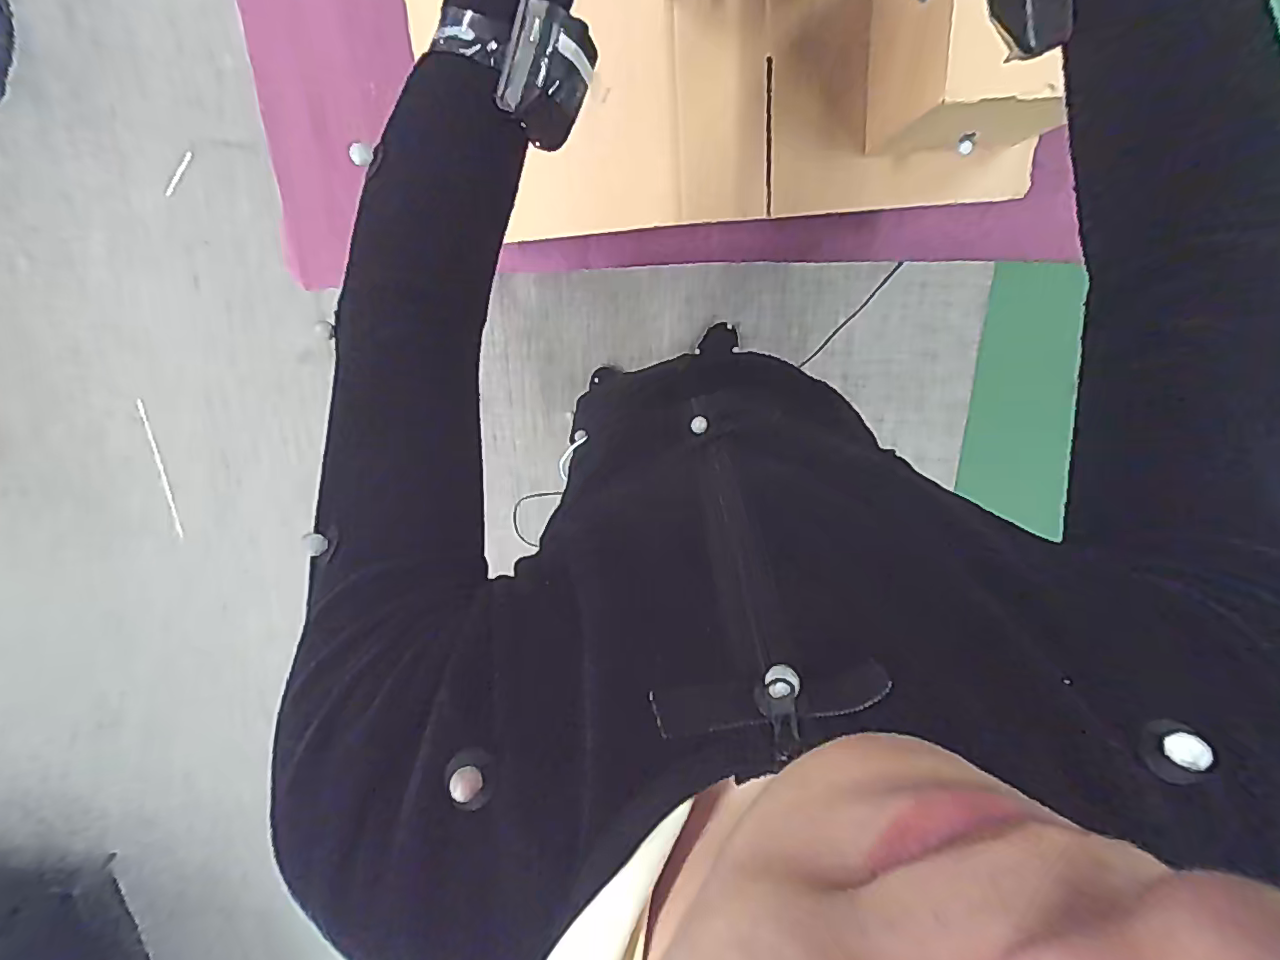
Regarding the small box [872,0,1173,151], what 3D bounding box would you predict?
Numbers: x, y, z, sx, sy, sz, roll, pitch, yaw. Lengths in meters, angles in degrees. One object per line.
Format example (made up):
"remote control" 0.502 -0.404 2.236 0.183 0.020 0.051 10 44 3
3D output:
"small box" 0.322 -0.416 0.480 0.168 0.176 0.179 -3 109 2
